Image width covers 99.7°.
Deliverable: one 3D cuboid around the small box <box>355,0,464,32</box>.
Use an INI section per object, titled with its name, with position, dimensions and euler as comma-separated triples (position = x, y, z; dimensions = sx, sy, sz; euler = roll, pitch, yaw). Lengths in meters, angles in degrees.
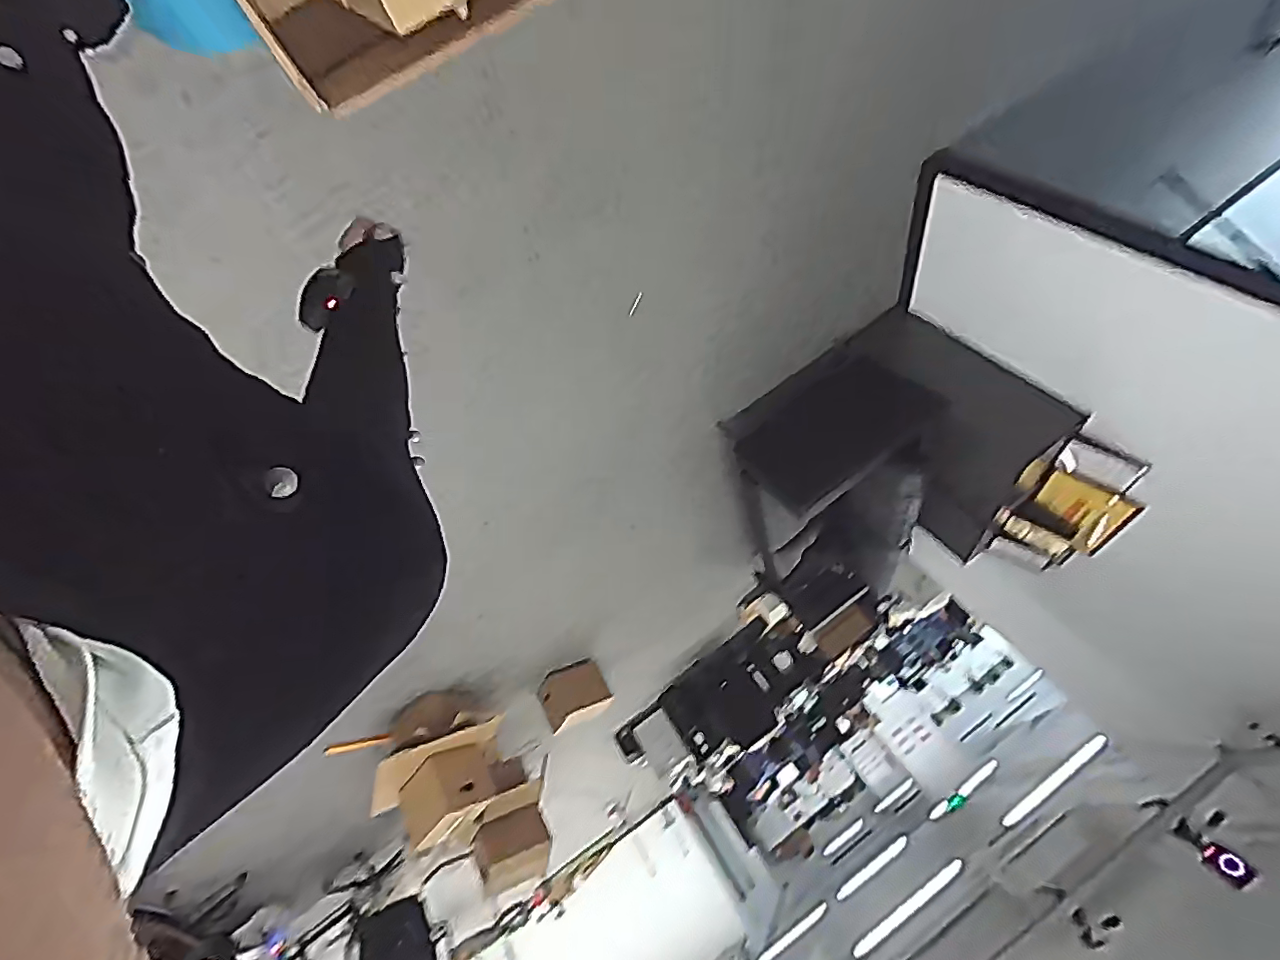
[small box]
position = -0.197, -0.504, 0.427
dimensions = 0.168, 0.176, 0.179
euler = -36, 145, -6
